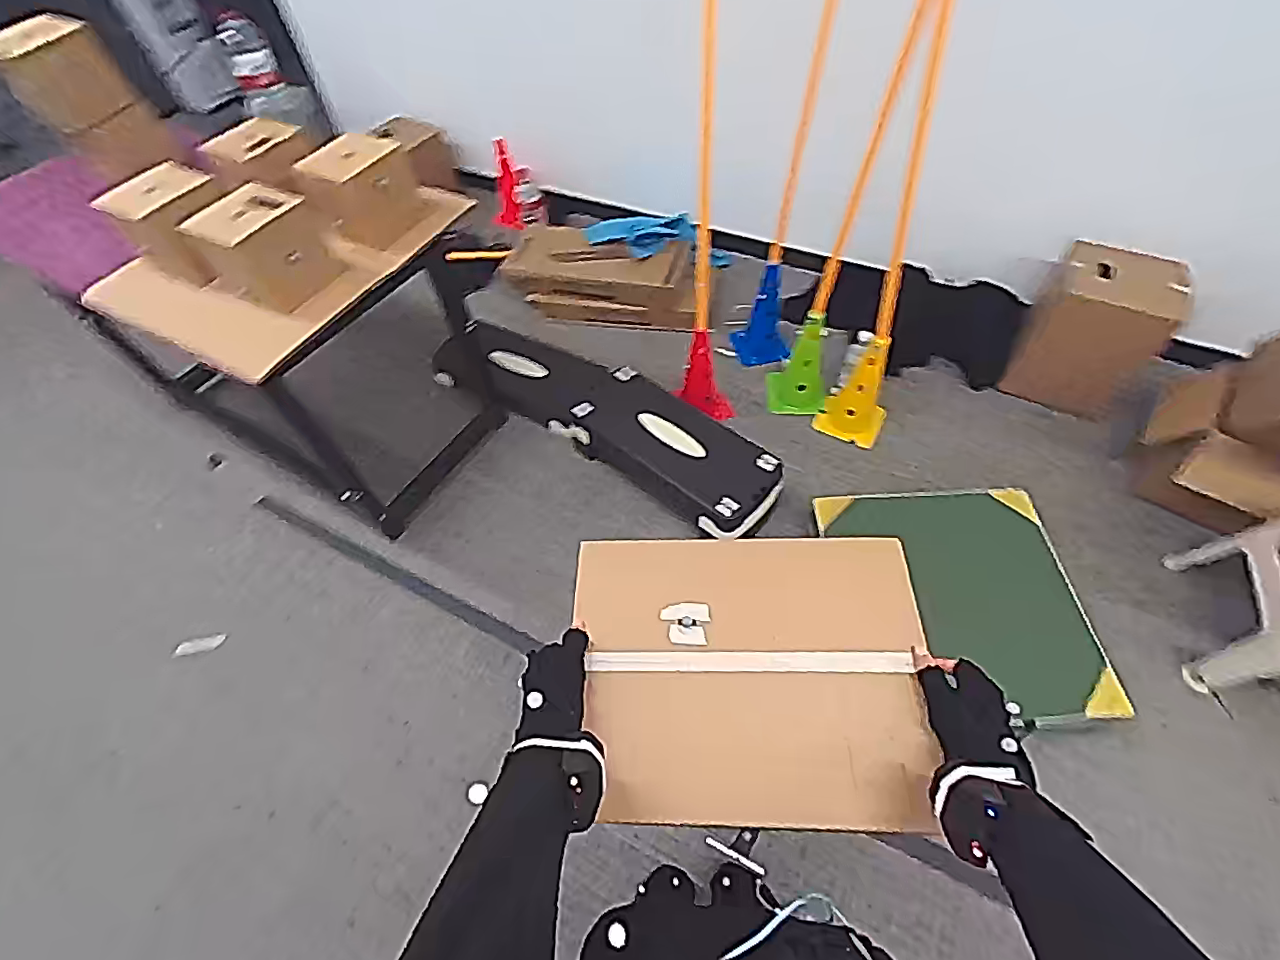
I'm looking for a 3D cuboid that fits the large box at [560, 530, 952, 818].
[{"bbox_3d":[0.130,0.280,0.751,0.408,0.320,0.320,-2,58,6],"label":"large box"}]
